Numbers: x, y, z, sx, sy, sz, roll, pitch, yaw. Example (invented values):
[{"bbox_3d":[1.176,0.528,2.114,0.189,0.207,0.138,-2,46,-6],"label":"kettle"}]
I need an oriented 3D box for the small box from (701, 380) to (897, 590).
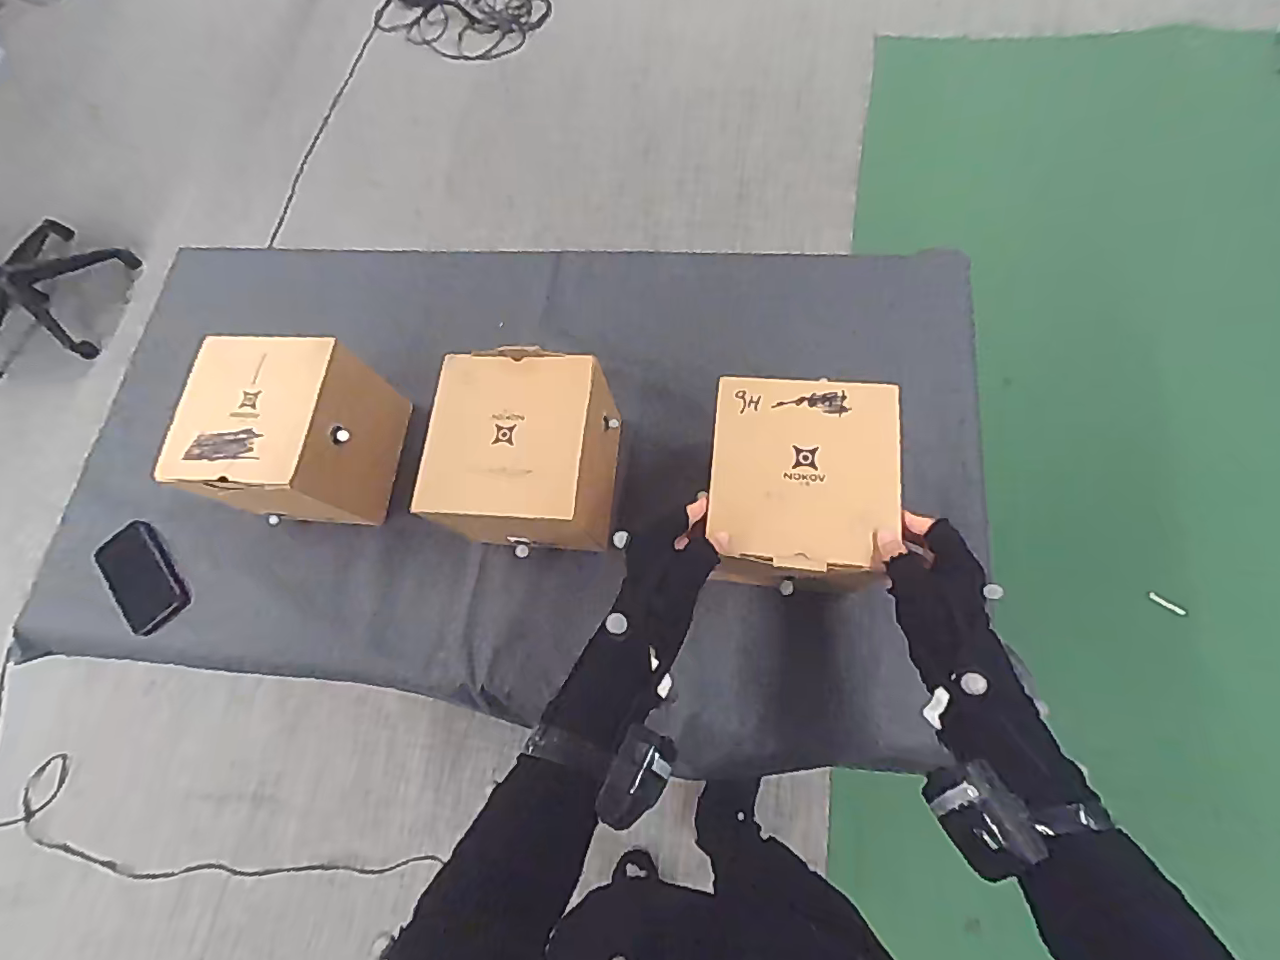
[{"bbox_3d":[0.157,0.015,0.566,0.168,0.176,0.179,5,73,9],"label":"small box"}]

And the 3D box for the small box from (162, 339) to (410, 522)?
[{"bbox_3d":[-0.409,-0.052,0.661,0.168,0.176,0.179,3,71,8],"label":"small box"}]

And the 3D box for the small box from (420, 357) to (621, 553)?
[{"bbox_3d":[-0.119,-0.022,0.617,0.168,0.176,0.179,2,73,9],"label":"small box"}]
